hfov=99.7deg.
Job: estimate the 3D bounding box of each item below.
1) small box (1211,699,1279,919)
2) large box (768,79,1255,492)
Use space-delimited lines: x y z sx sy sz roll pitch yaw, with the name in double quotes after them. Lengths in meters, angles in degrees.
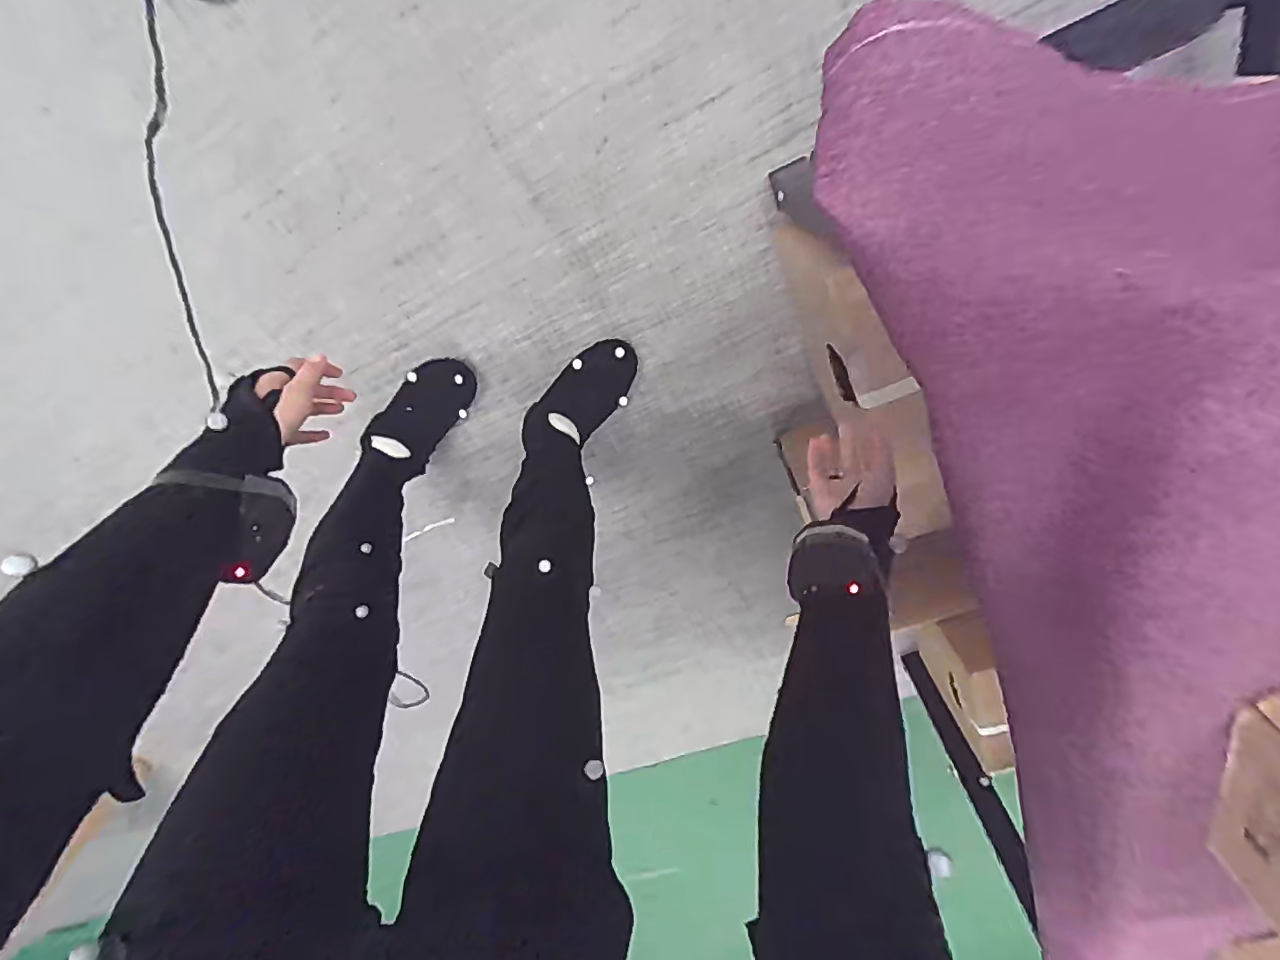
0.395 0.172 0.205 0.179 0.176 0.168 -22 120 13 "small box"
0.432 -0.251 0.720 0.408 0.320 0.320 -22 120 15 "large box"
